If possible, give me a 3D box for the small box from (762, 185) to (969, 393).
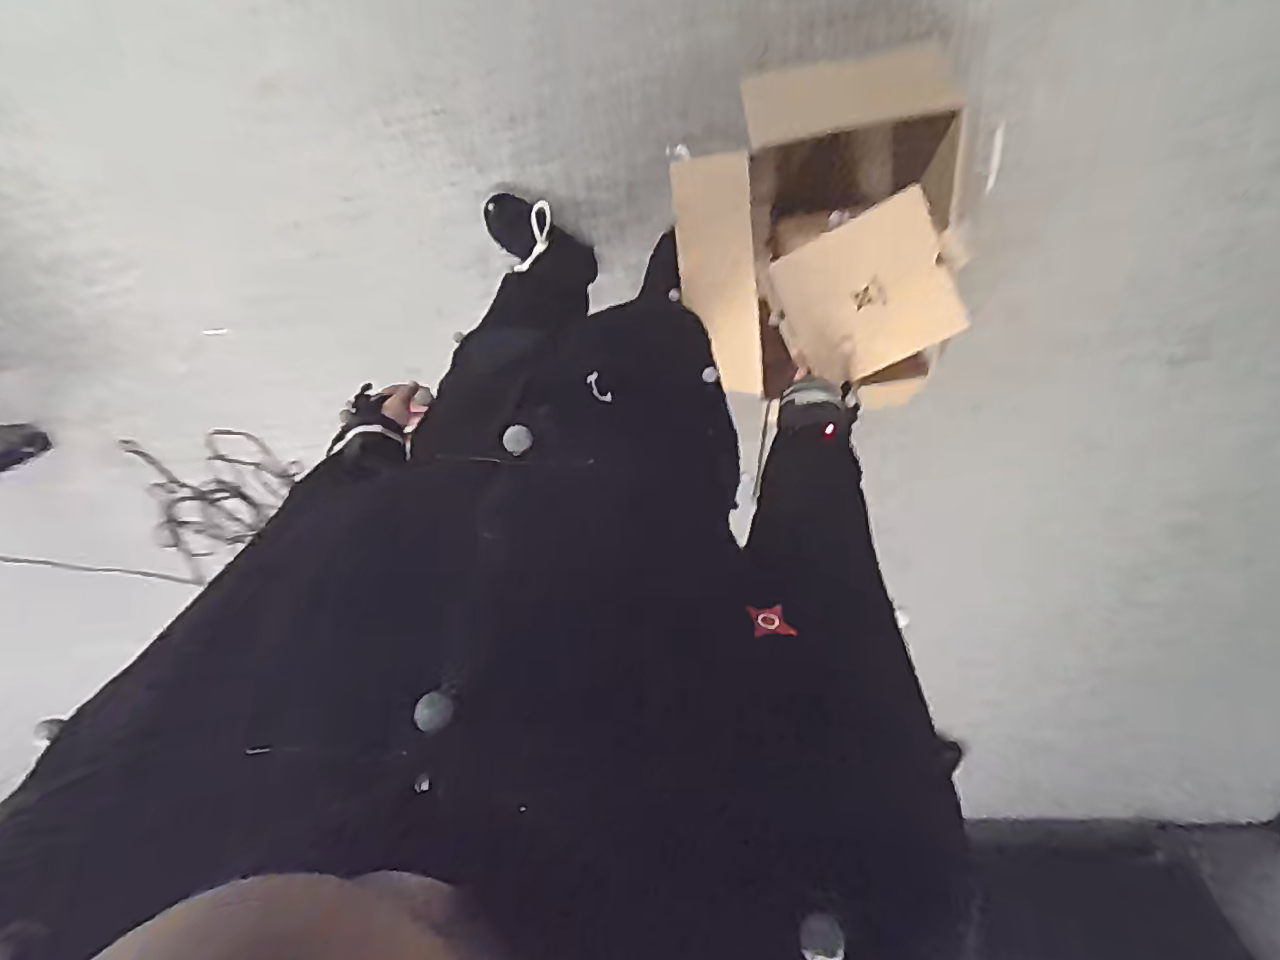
[{"bbox_3d":[0.263,-0.226,0.678,0.179,0.176,0.168,-26,101,13],"label":"small box"}]
